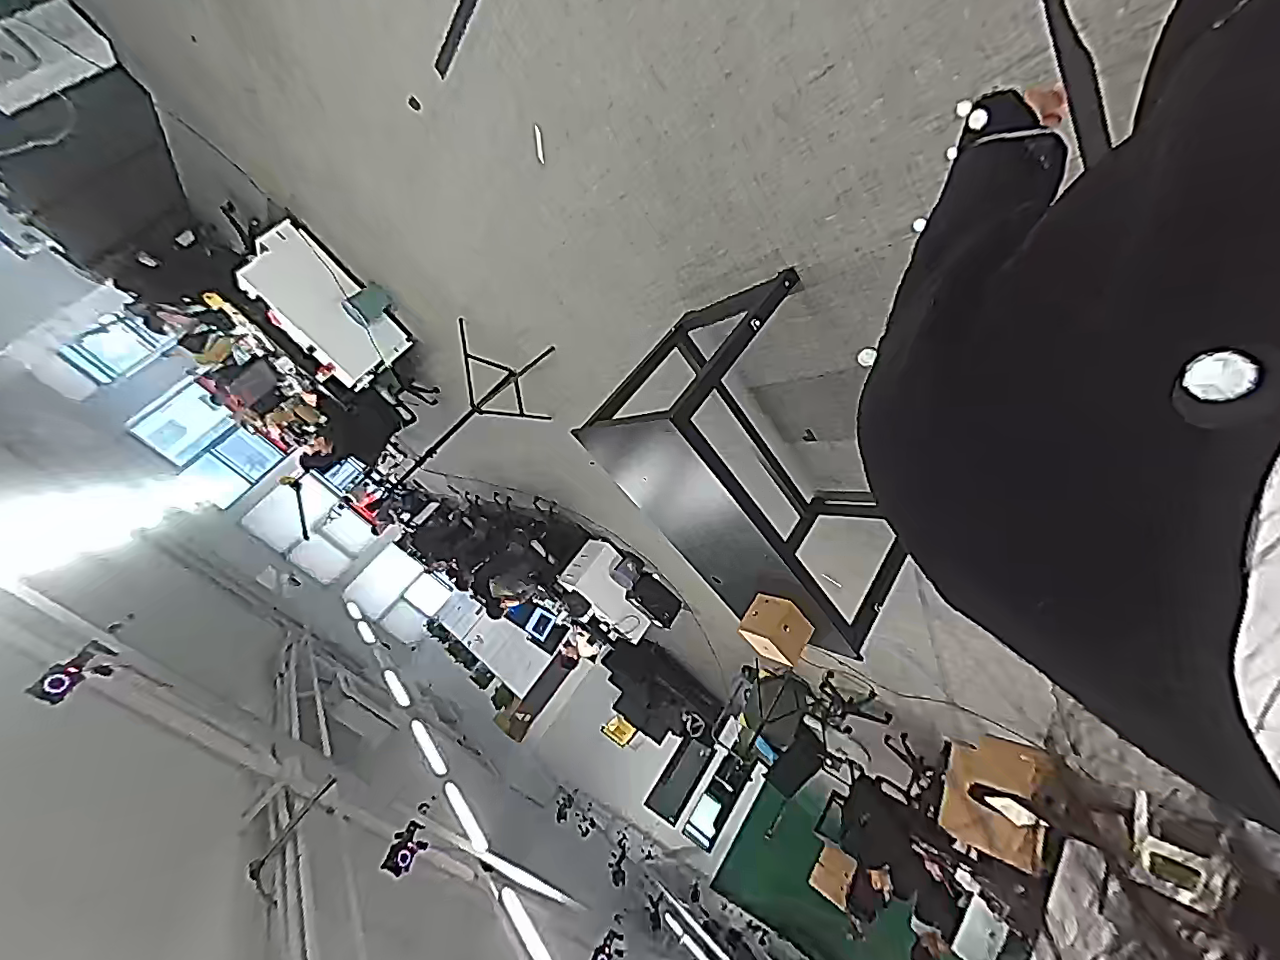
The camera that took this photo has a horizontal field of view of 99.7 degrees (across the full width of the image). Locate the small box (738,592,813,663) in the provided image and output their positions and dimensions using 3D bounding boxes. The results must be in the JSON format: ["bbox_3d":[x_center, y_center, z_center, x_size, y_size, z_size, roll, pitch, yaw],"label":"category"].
[{"bbox_3d":[0.499,0.535,1.987,0.179,0.176,0.168,47,158,-22],"label":"small box"}]
